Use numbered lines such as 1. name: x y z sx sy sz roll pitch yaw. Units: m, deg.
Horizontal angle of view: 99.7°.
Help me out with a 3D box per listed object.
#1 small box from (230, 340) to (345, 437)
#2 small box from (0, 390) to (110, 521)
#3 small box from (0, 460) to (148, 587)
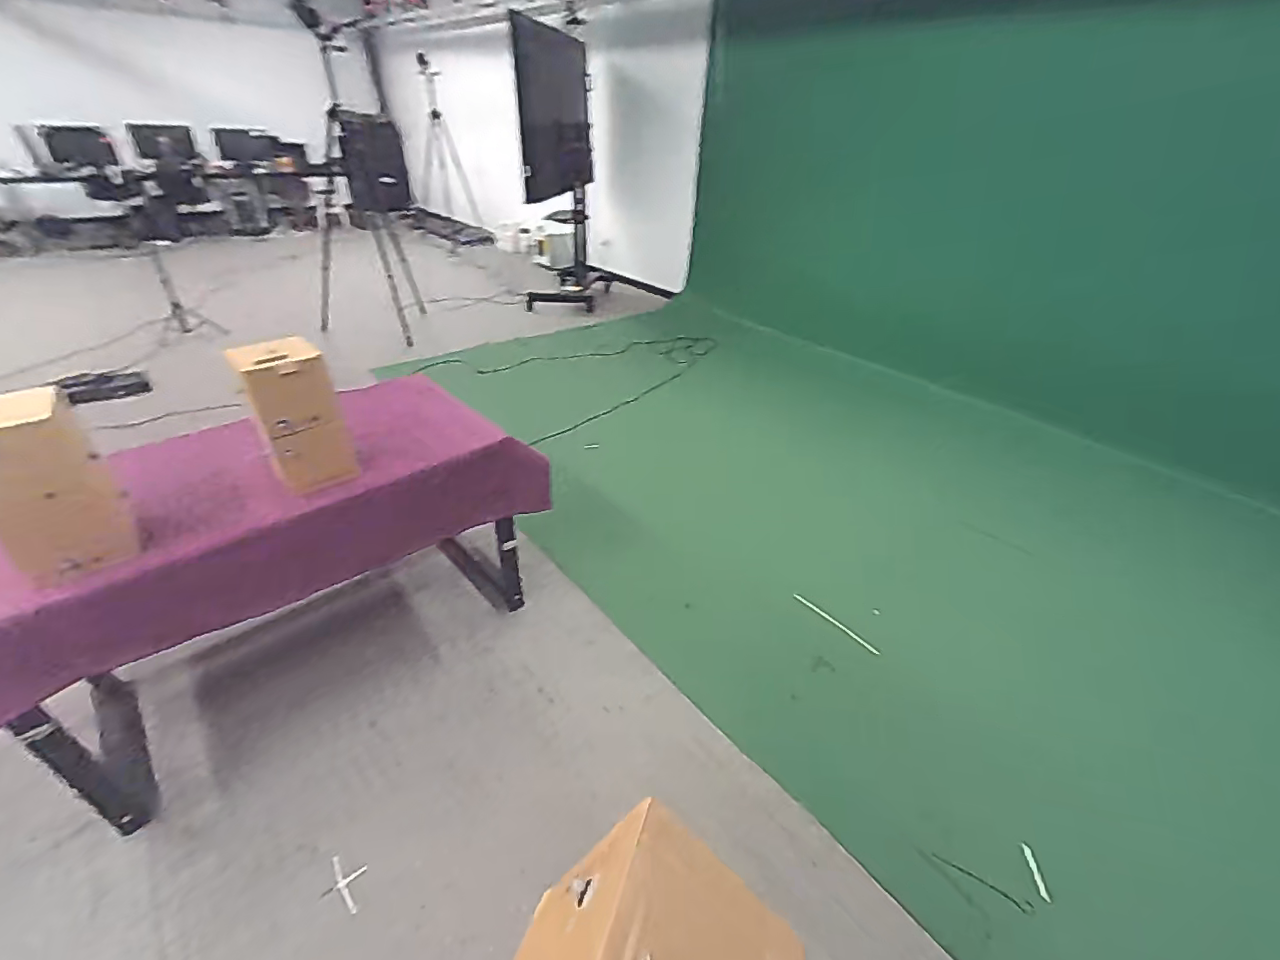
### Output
1. small box: -0.840 -0.219 1.299 0.168 0.176 0.179 -27 42 -36
2. small box: -1.157 -0.049 1.027 0.168 0.176 0.179 -24 40 -31
3. small box: -1.162 0.088 1.119 0.168 0.176 0.179 -23 41 -31
